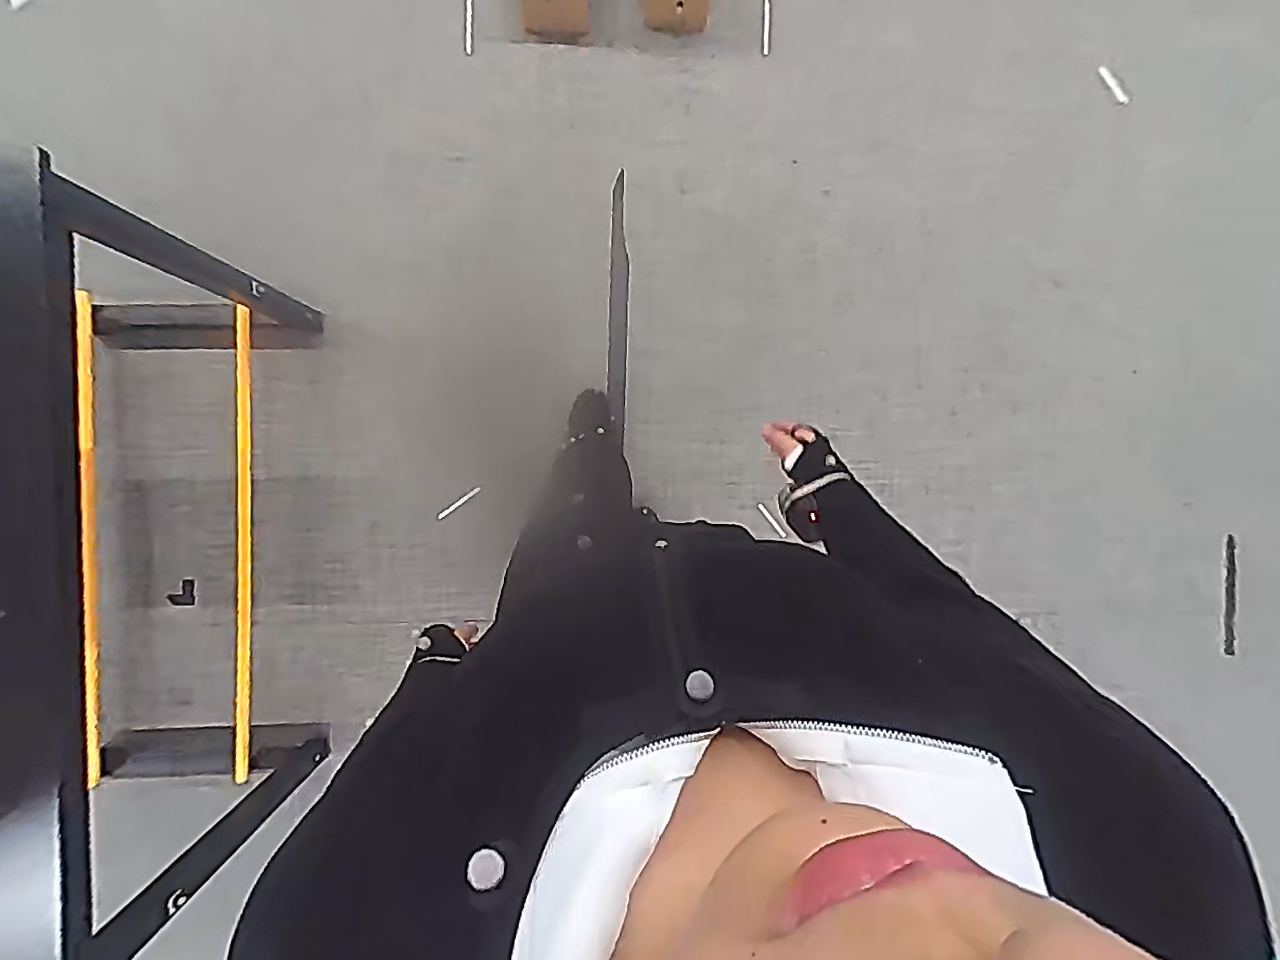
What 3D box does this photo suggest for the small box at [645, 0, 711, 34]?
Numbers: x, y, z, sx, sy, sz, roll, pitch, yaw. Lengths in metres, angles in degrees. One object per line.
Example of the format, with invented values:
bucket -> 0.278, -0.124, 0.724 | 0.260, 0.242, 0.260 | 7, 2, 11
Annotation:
small box -> 0.102, -1.298, 1.389 | 0.168, 0.176, 0.179 | 0, 92, -3

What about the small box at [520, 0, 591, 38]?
small box -> -0.216, -1.265, 1.368 | 0.179, 0.176, 0.168 | -1, 92, -4
